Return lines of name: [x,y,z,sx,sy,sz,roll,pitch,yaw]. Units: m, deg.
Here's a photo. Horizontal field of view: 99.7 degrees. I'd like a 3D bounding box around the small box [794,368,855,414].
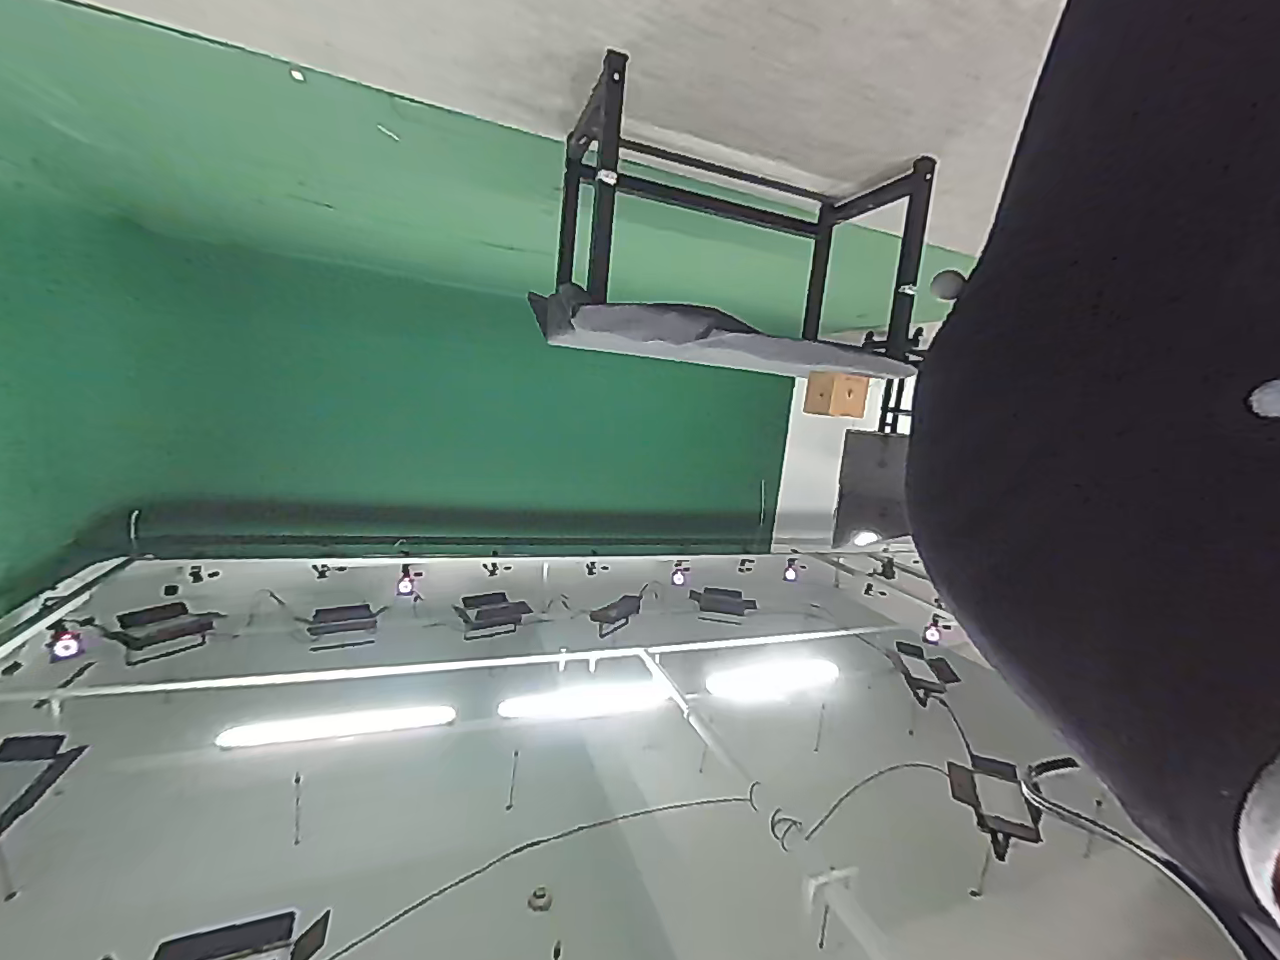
small box: [0.746,-0.360,2.184,0.168,0.176,0.179,3,-172,-19]
